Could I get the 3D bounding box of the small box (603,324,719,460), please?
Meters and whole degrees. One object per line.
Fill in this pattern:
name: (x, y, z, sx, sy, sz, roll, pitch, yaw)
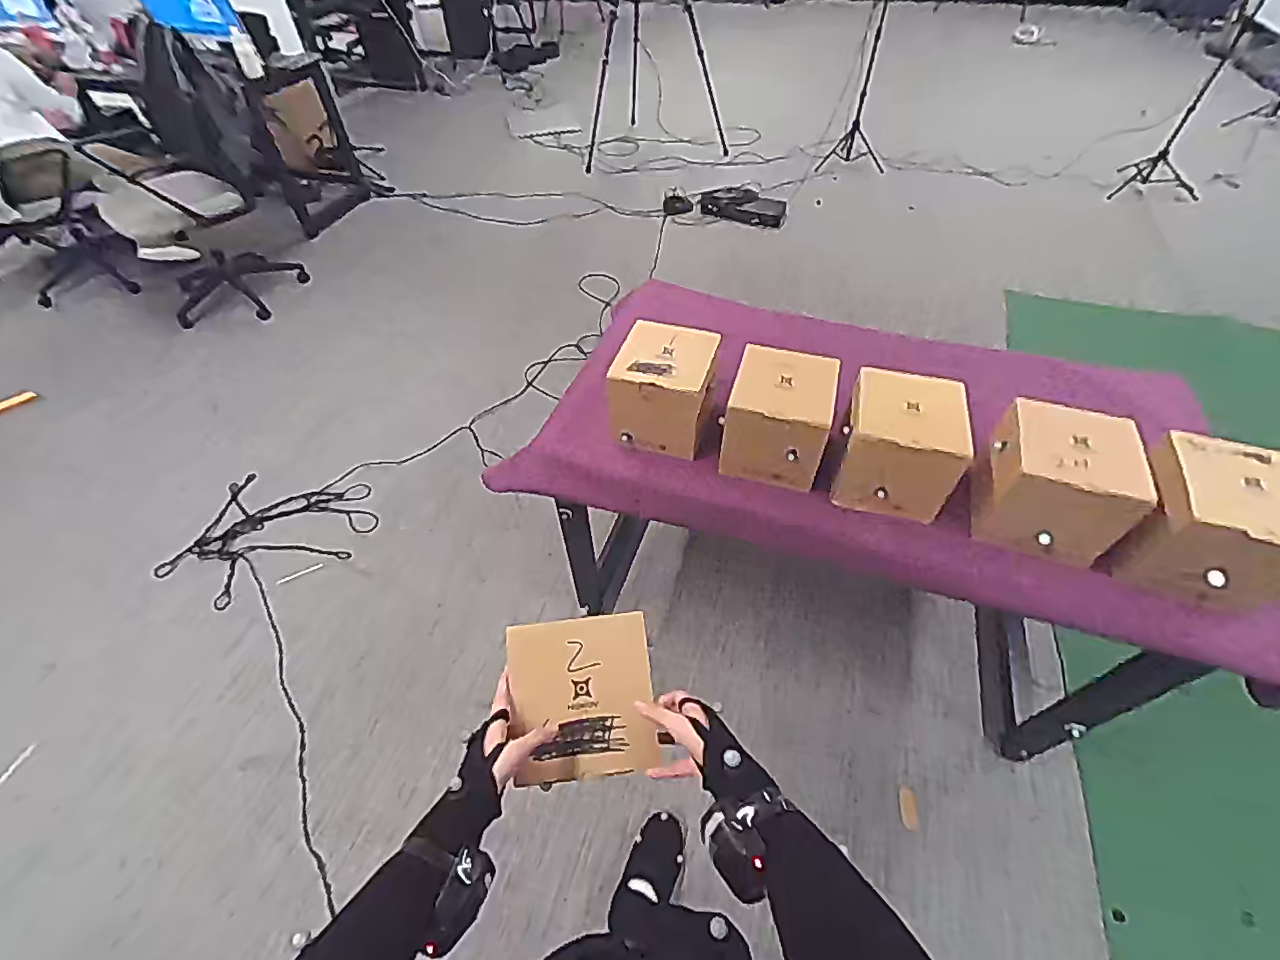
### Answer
small box: (0.044, -0.161, 1.008, 0.168, 0.176, 0.179, 13, 51, 13)
